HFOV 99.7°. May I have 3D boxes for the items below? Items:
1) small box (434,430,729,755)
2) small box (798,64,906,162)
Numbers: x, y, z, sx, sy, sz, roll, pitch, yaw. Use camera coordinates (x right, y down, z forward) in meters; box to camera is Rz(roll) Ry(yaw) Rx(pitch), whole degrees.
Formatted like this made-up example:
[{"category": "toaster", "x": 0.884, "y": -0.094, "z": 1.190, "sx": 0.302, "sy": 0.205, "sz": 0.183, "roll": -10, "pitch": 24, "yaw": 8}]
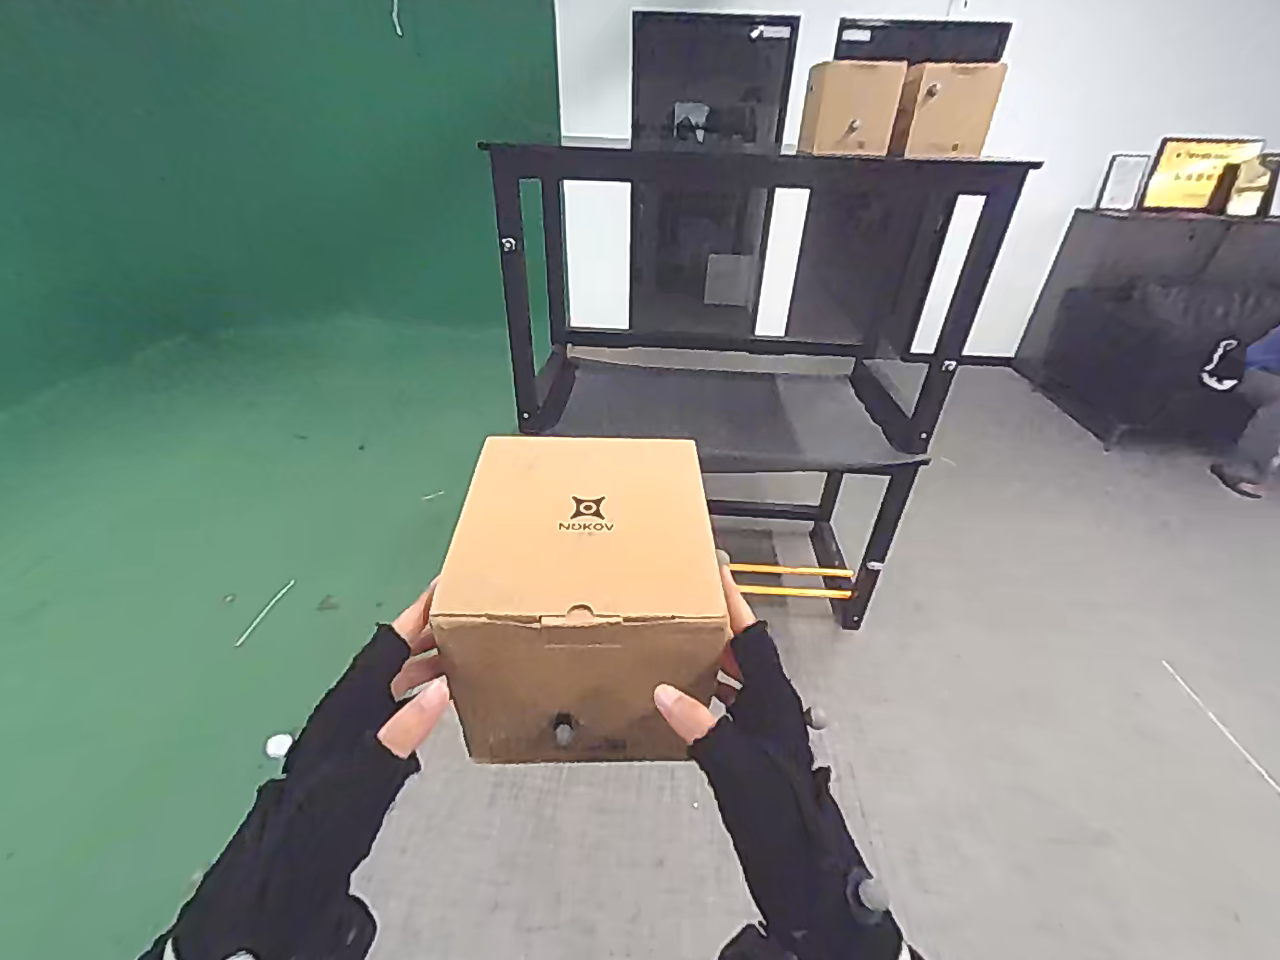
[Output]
[{"category": "small box", "x": -0.038, "y": 0.080, "z": 0.409, "sx": 0.168, "sy": 0.176, "sz": 0.179, "roll": 1, "pitch": 38, "yaw": -3}, {"category": "small box", "x": 0.470, "y": -0.831, "z": 1.231, "sx": 0.168, "sy": 0.176, "sz": 0.179, "roll": 2, "pitch": 33, "yaw": 1}]
